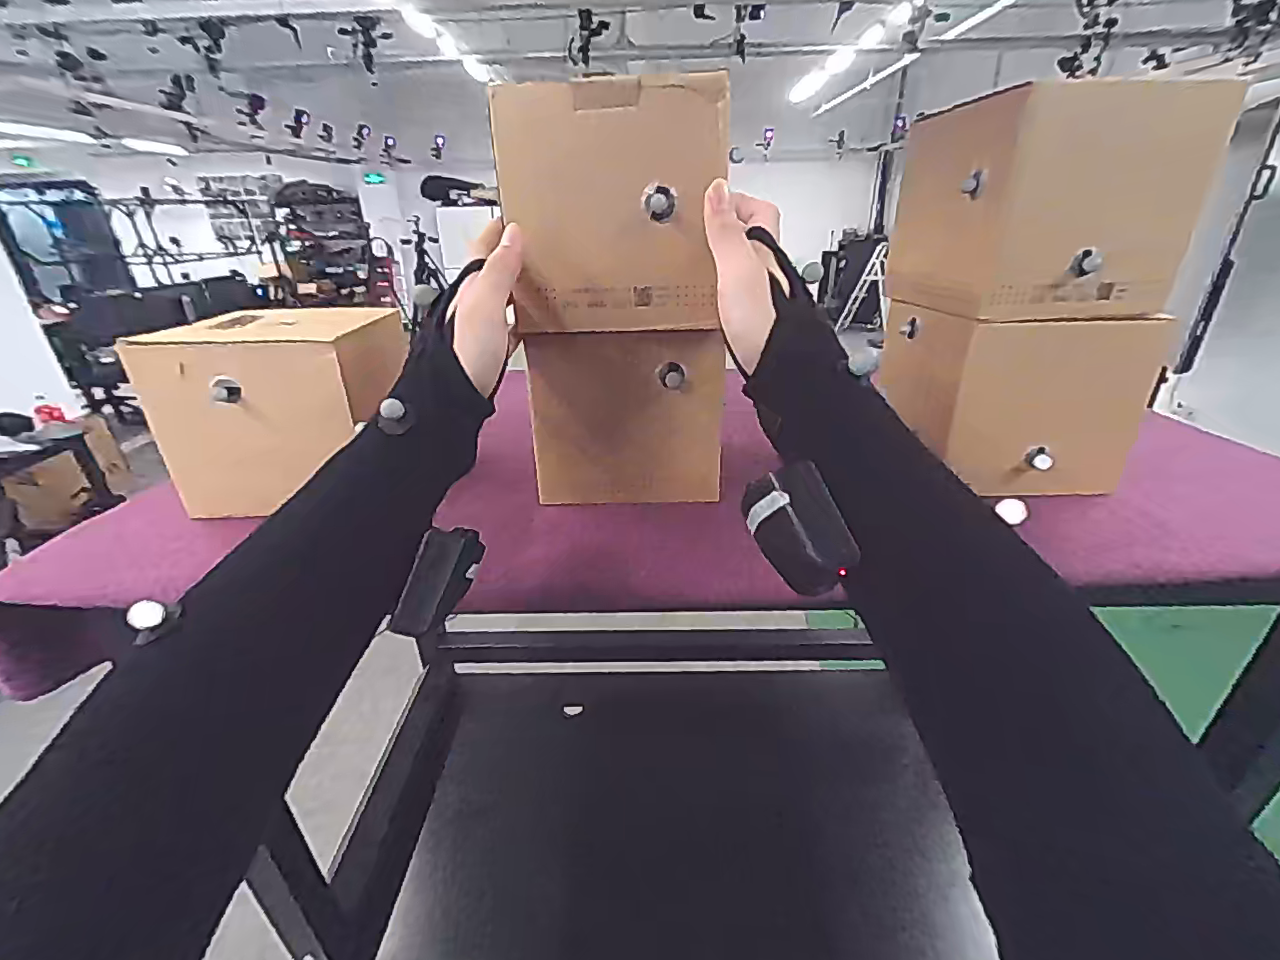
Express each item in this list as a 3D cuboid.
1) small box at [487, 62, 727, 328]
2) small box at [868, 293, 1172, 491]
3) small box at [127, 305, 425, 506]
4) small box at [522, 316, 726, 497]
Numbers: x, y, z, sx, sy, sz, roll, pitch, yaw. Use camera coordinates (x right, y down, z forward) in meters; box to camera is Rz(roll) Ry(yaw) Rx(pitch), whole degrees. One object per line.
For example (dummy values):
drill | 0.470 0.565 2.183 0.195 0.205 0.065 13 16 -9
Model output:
small box | -0.010 -0.228 0.466 0.168 0.176 0.179 2 25 8
small box | 0.361 -0.094 0.557 0.179 0.176 0.168 -1 24 0
small box | -0.343 -0.080 0.555 0.179 0.176 0.168 -1 26 -3
small box | -0.012 -0.090 0.562 0.179 0.176 0.168 -1 25 1
